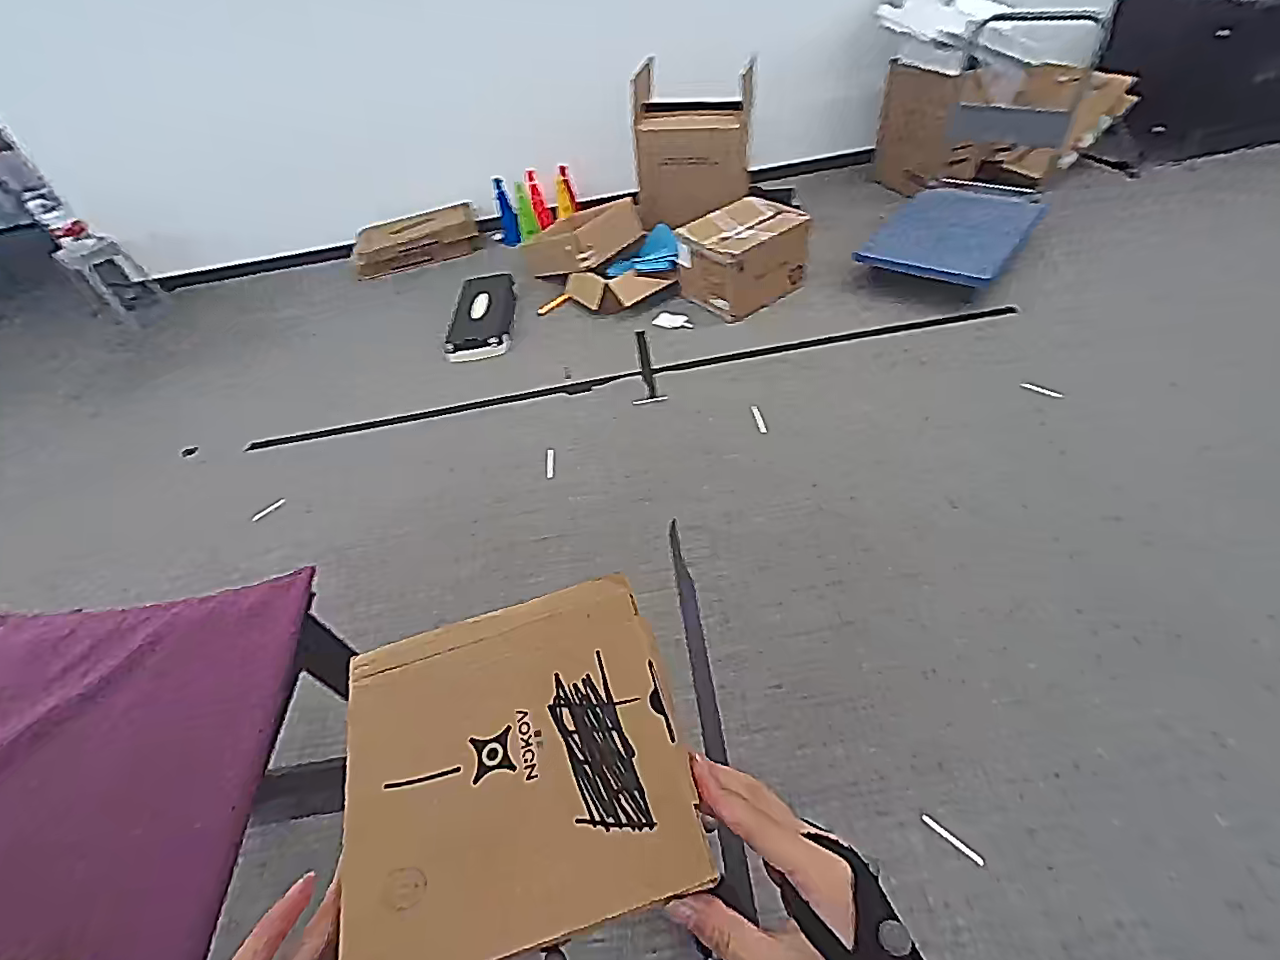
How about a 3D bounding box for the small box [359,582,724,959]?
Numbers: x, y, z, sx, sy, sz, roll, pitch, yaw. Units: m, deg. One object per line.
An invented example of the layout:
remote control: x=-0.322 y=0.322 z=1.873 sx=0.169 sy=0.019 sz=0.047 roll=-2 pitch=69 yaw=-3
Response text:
small box: x=-0.056 y=0.196 z=0.359 sx=0.179 sy=0.176 sz=0.168 roll=-16 pitch=53 yaw=-4
